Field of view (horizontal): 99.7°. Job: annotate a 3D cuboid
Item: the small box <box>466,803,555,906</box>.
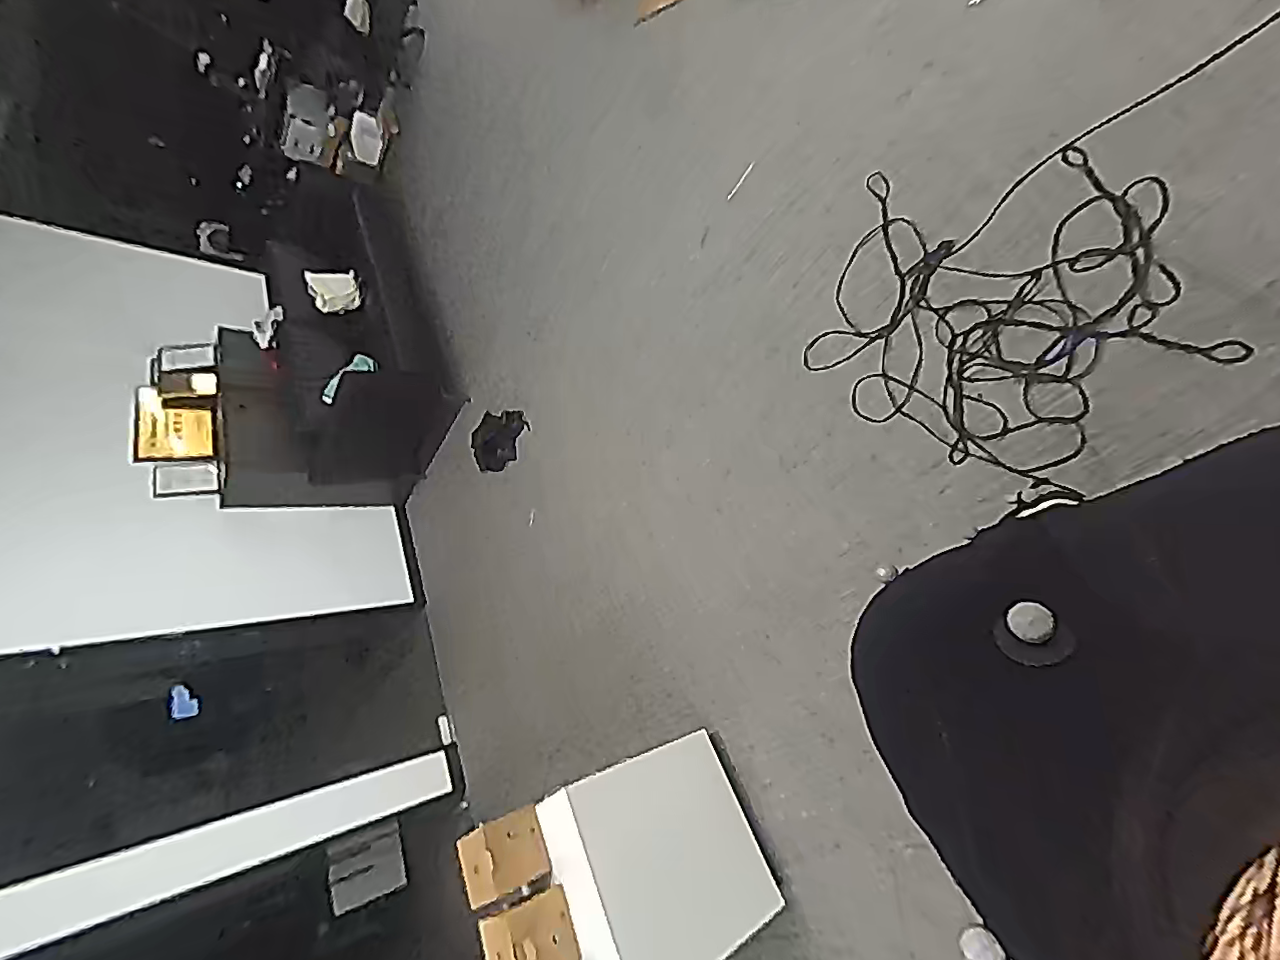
[{"bbox_3d":[-0.350,1.019,1.480,0.179,0.176,0.168,-50,54,35],"label":"small box"}]
